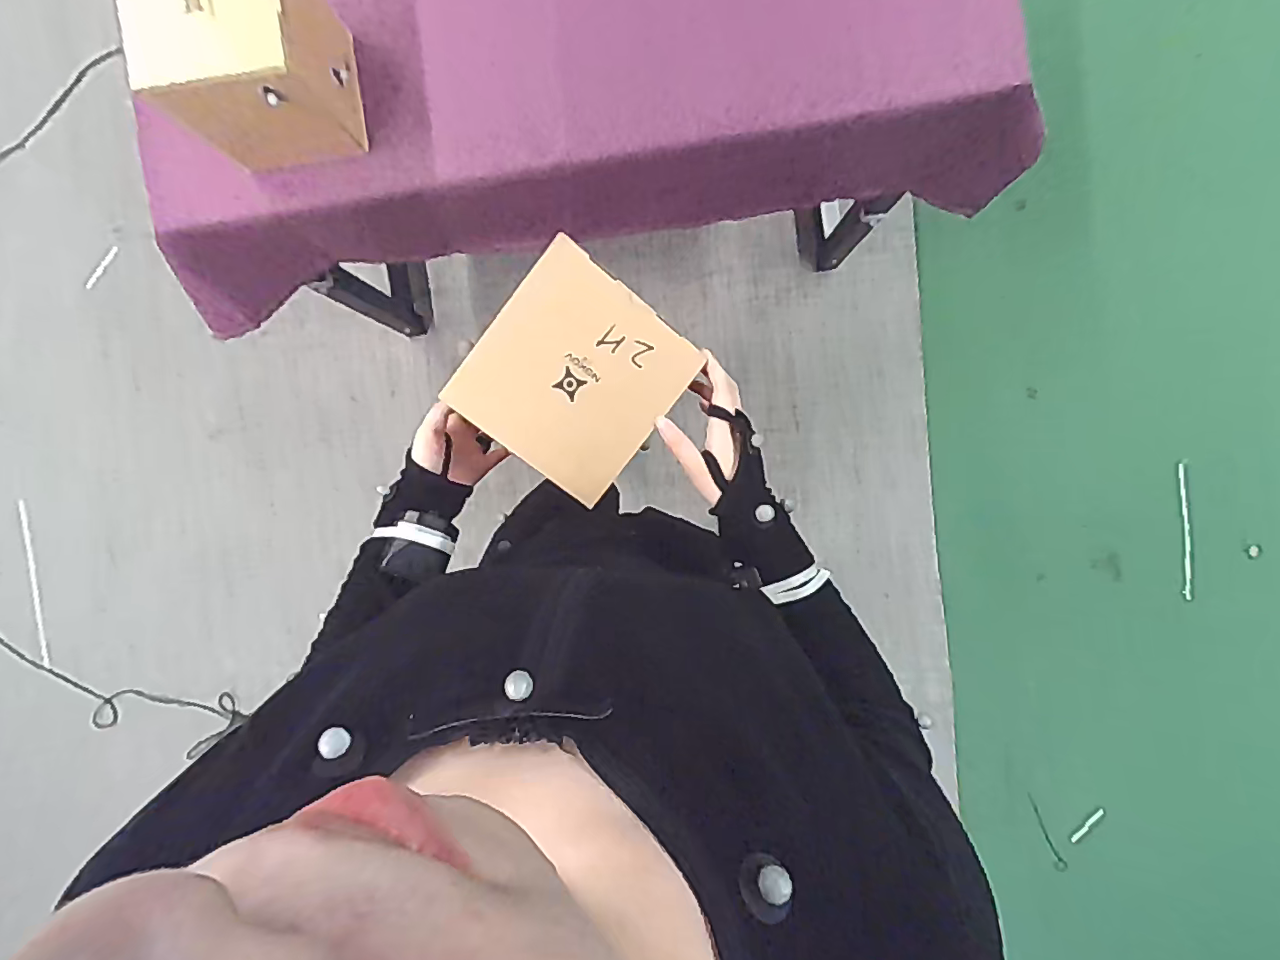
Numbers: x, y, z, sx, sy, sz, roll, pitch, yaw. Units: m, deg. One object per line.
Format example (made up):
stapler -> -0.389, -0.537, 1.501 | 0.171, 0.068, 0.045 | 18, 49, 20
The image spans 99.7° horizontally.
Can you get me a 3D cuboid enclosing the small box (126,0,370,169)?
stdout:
small box -> -0.465, -0.511, 0.660 | 0.179, 0.176, 0.168 | -8, 92, 0
